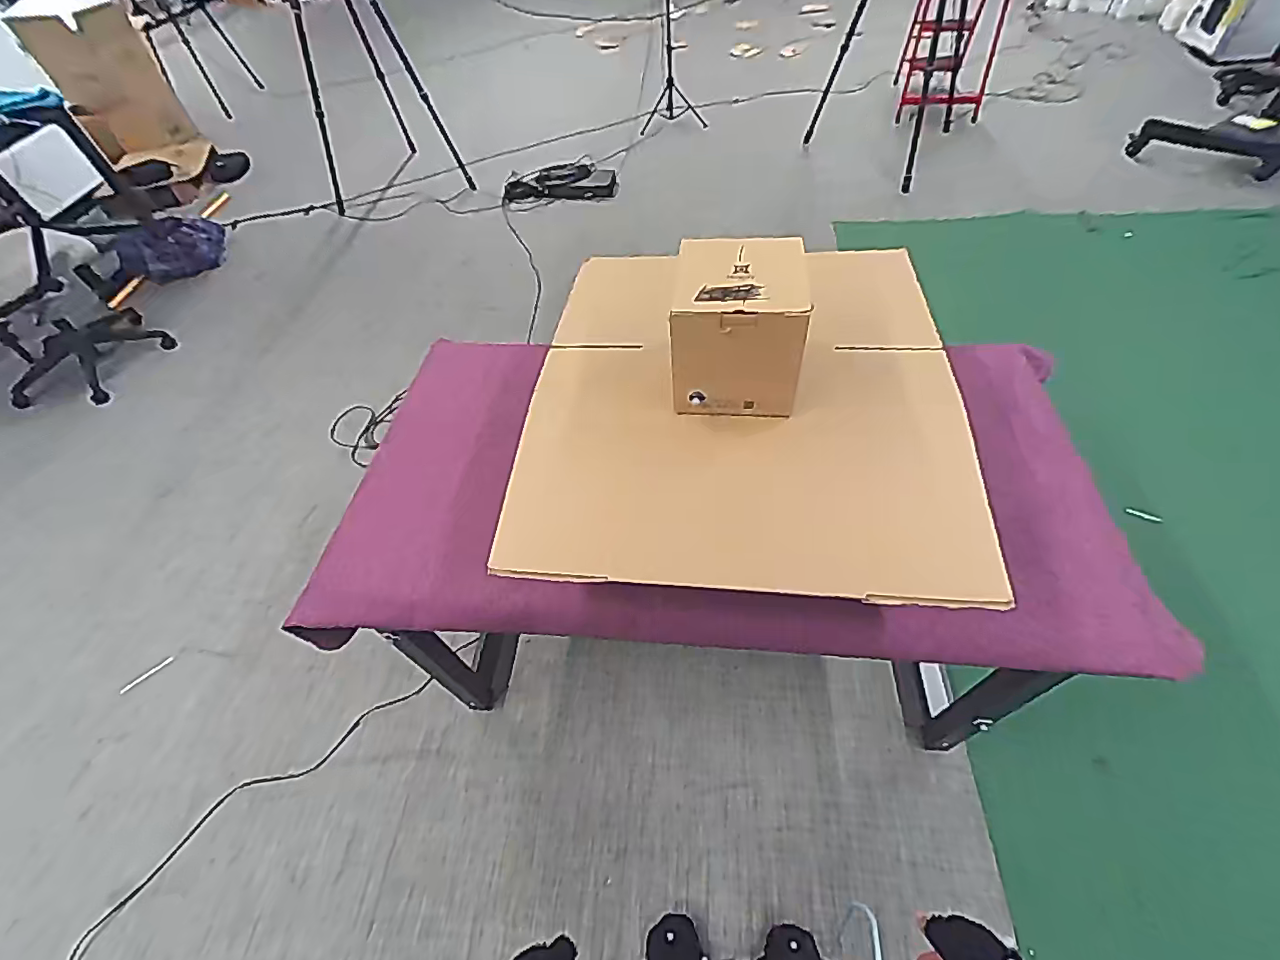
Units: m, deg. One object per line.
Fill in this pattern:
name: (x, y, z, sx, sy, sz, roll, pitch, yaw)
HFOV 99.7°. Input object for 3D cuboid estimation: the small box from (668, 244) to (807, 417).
small box: (0.133, -0.203, 0.748, 0.168, 0.176, 0.179, 3, 51, 8)
